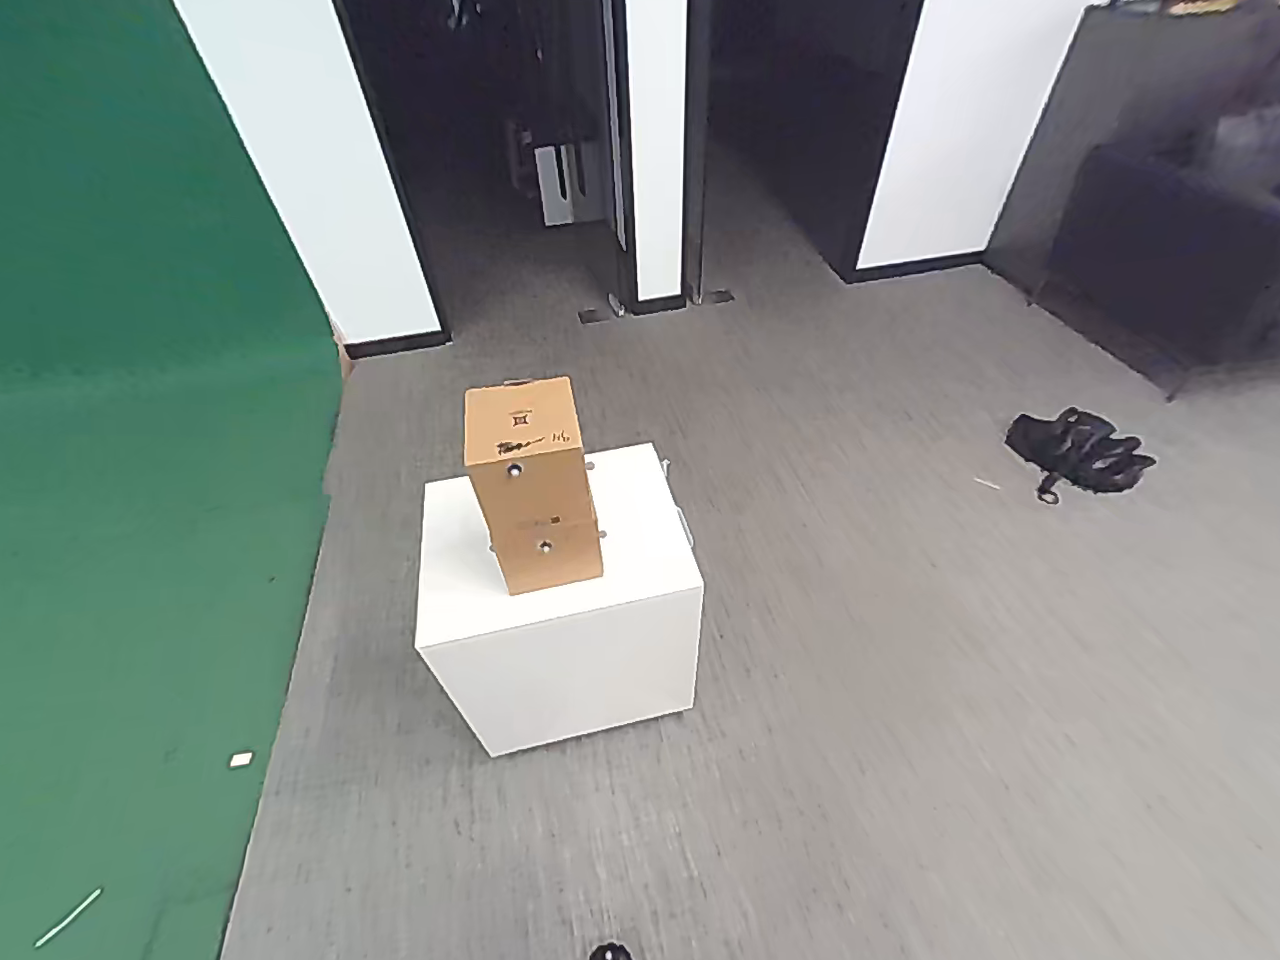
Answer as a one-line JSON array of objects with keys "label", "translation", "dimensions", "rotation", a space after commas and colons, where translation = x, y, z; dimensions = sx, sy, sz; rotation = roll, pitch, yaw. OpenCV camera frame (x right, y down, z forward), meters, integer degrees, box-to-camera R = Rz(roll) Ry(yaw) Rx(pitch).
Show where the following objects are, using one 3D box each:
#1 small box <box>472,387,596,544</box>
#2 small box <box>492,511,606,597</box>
[{"label": "small box", "translation": [-0.169, -0.024, 0.875], "dimensions": [0.168, 0.176, 0.179], "rotation": [-11, 47, -9]}, {"label": "small box", "translation": [-0.165, 0.093, 0.987], "dimensions": [0.179, 0.176, 0.168], "rotation": [-10, 46, -8]}]
